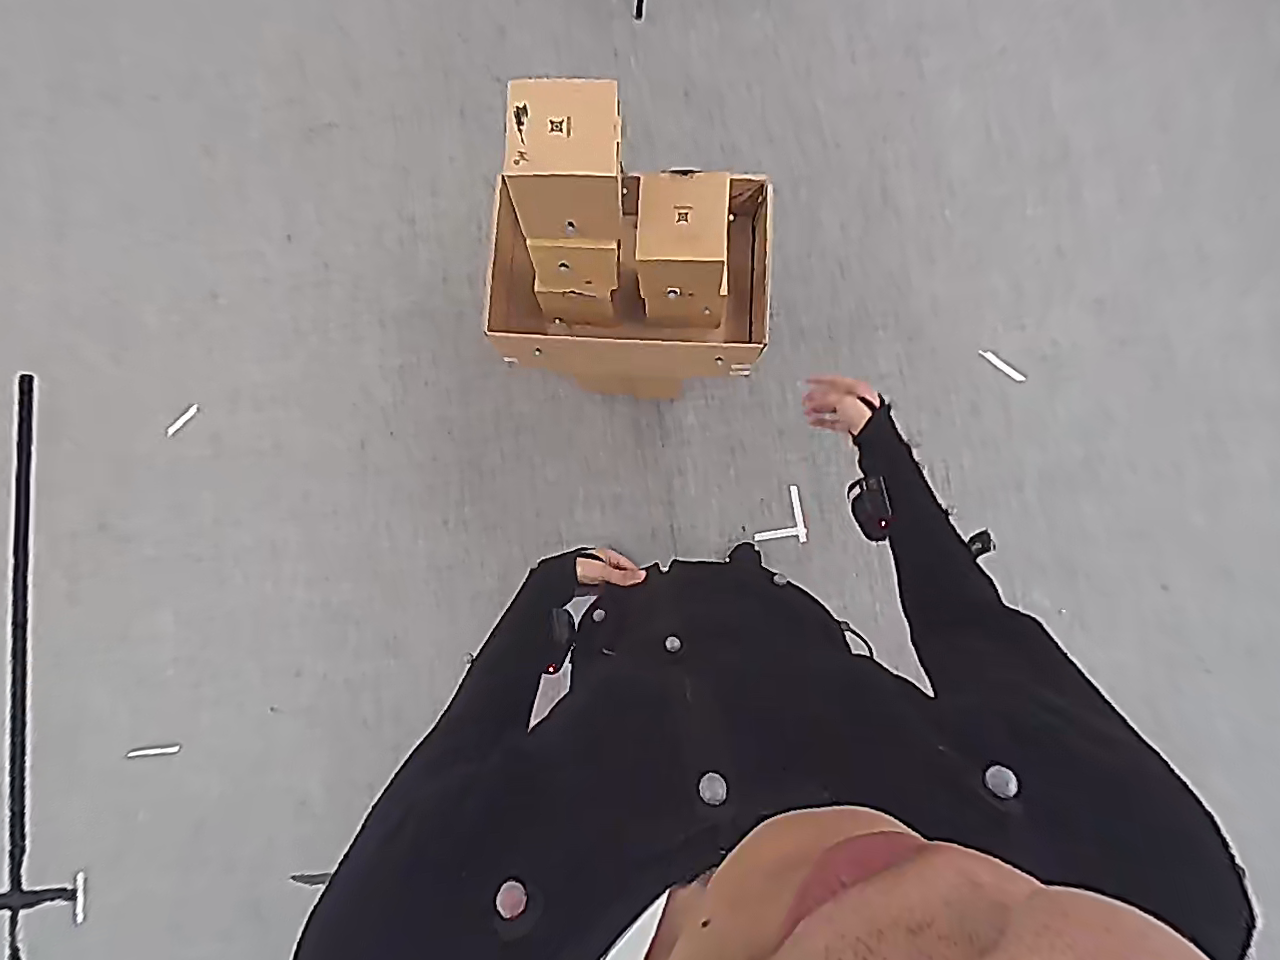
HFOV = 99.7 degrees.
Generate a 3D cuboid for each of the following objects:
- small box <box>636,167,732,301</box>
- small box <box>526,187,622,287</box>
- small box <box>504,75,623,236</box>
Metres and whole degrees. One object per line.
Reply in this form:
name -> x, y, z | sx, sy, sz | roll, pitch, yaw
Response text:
small box -> 0.084, -0.473, 1.056 | 0.168, 0.176, 0.179 | 3, 83, 4
small box -> -0.122, -0.501, 1.069 | 0.168, 0.176, 0.179 | 2, 82, -1
small box -> -0.119, -0.532, 0.908 | 0.179, 0.176, 0.168 | 1, 82, -1
